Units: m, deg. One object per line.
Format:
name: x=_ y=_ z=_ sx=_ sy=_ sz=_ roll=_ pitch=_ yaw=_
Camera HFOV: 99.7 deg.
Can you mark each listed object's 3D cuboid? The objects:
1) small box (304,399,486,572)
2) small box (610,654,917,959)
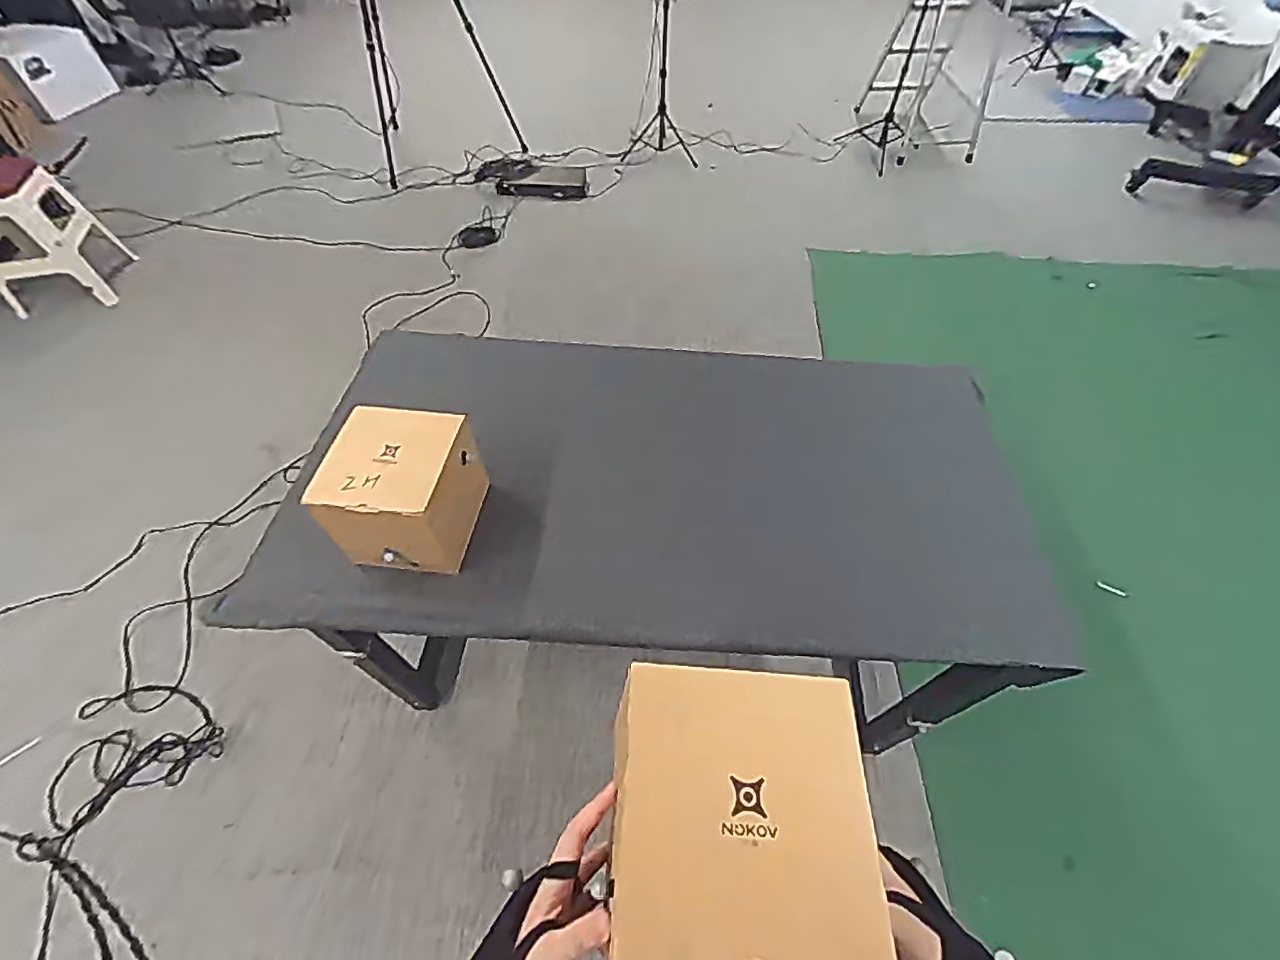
small box: x=-0.336 y=0.010 z=0.789 sx=0.168 sy=0.176 sz=0.179 roll=7 pitch=53 yaw=3
small box: x=0.069 y=0.252 z=0.407 sx=0.168 sy=0.176 sz=0.179 roll=6 pitch=52 yaw=-4
